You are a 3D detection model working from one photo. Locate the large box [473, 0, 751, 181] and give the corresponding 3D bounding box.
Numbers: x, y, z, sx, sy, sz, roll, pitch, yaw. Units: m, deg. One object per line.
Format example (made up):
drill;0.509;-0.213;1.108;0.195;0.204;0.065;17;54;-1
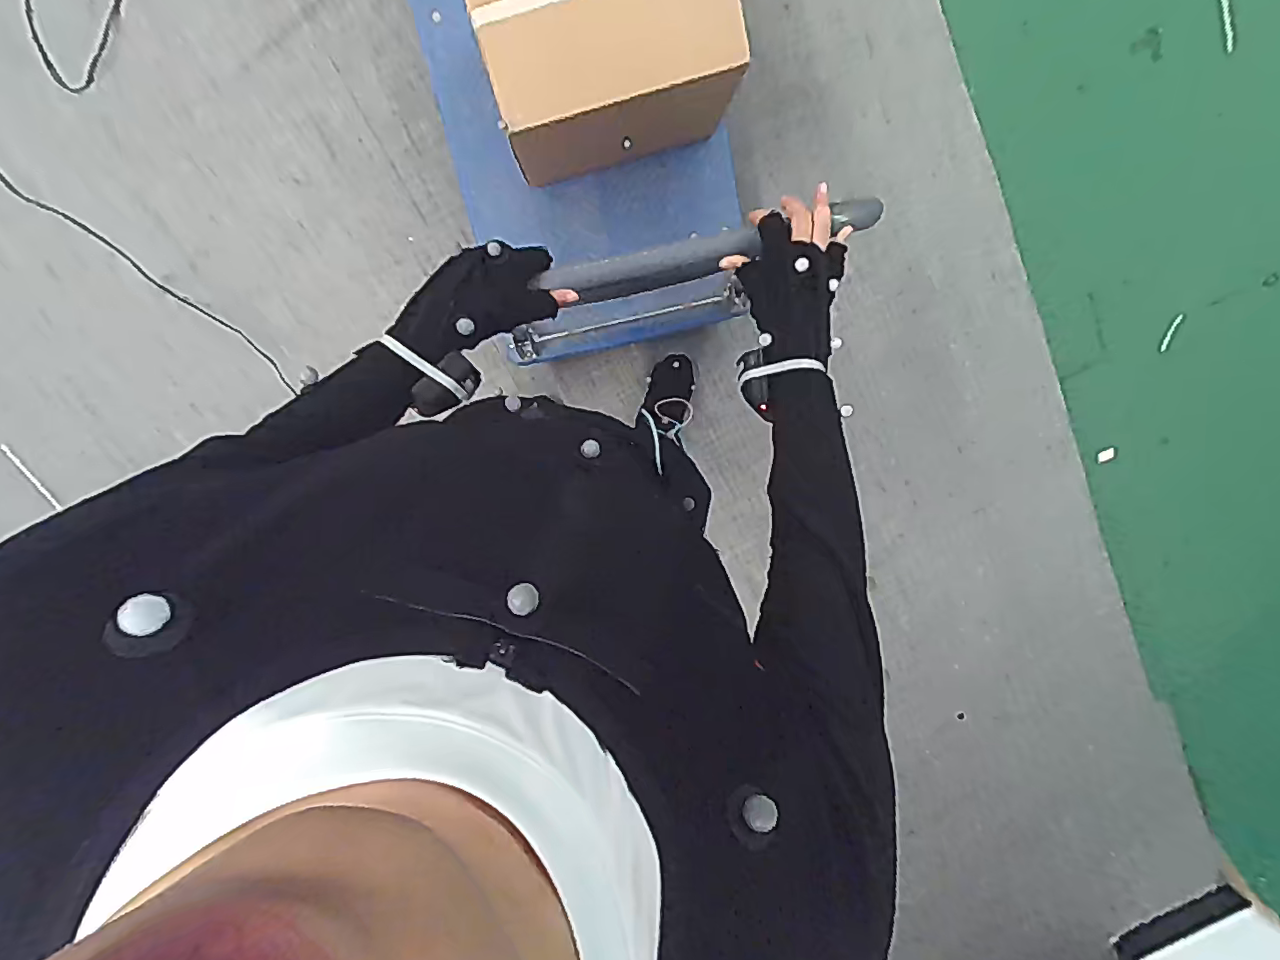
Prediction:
large box;-0.060;-0.795;0.971;0.408;0.320;0.320;-17;104;2
